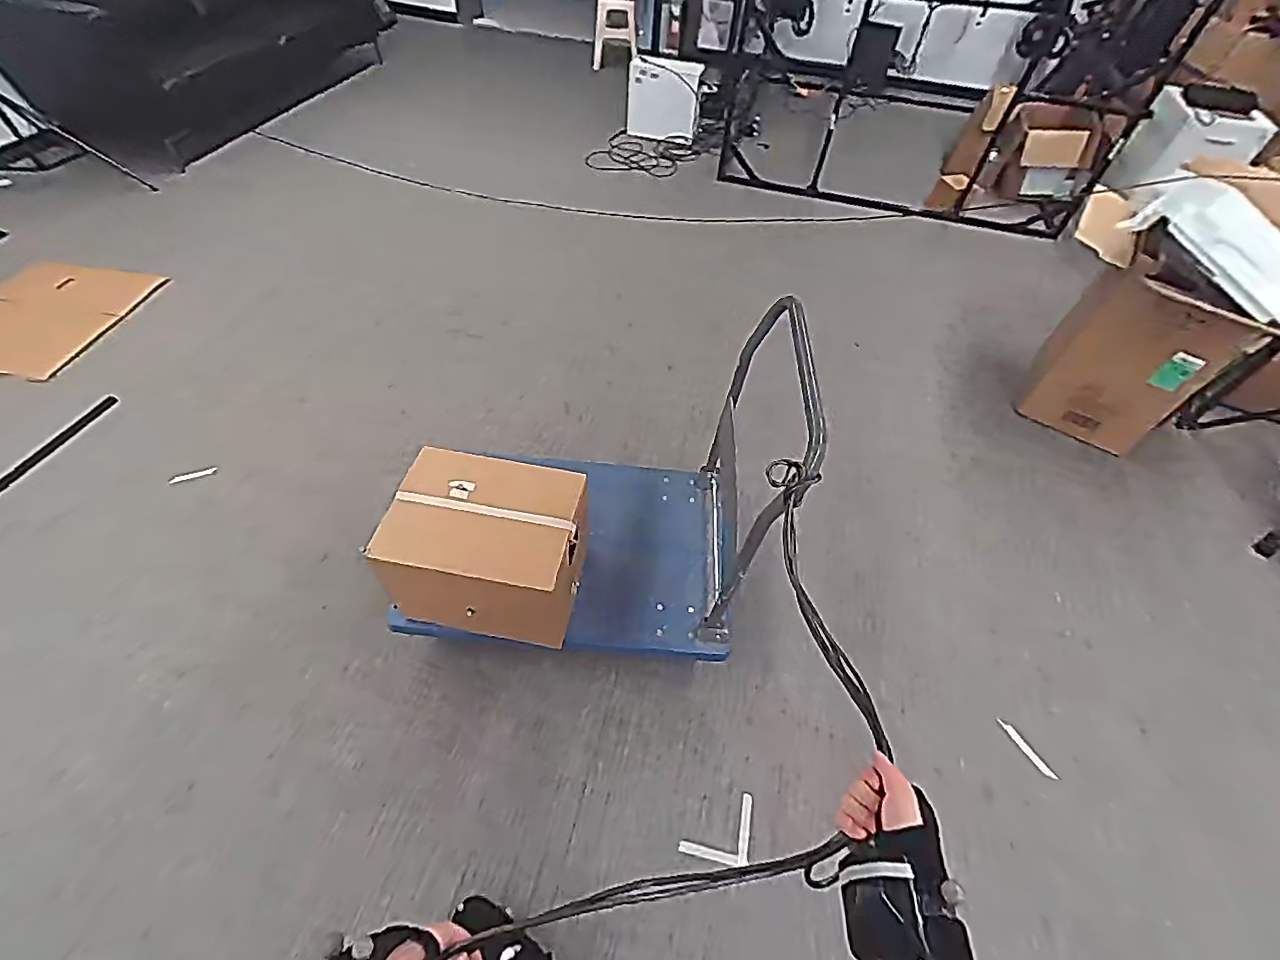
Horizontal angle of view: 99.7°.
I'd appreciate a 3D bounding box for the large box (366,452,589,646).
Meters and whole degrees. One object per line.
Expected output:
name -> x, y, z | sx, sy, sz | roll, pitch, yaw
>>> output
large box -> -0.349, 0.171, 1.298 | 0.408, 0.320, 0.320 | 10, 51, 4
